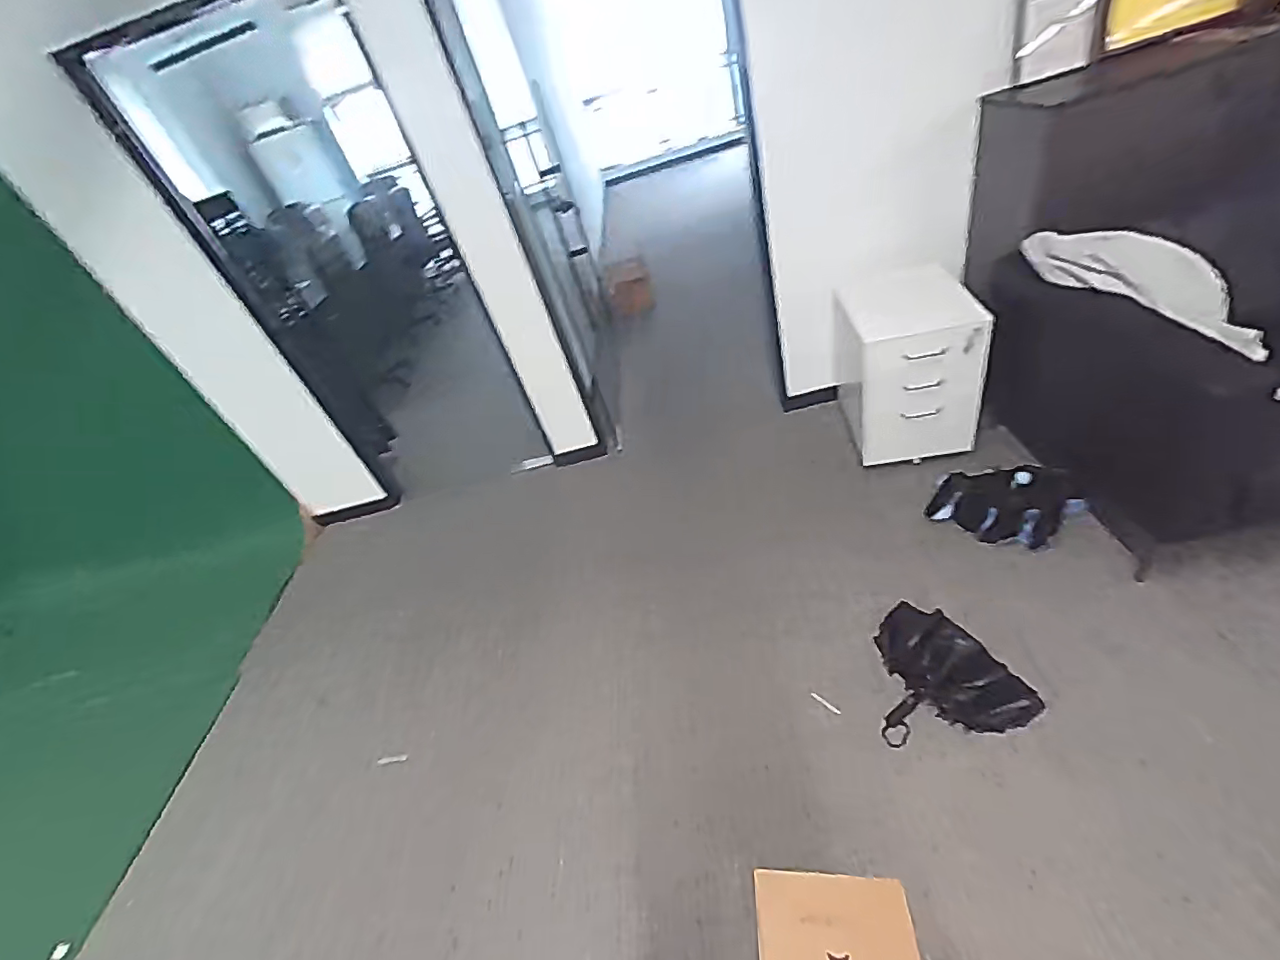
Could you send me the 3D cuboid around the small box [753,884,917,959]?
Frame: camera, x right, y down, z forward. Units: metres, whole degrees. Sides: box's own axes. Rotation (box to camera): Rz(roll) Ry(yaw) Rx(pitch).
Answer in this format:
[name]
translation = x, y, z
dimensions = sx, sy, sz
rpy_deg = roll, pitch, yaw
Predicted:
[small box]
translation = 0.216, 0.584, 0.596
dimensions = 0.168, 0.176, 0.179
rpy_deg = -3, 34, 7
